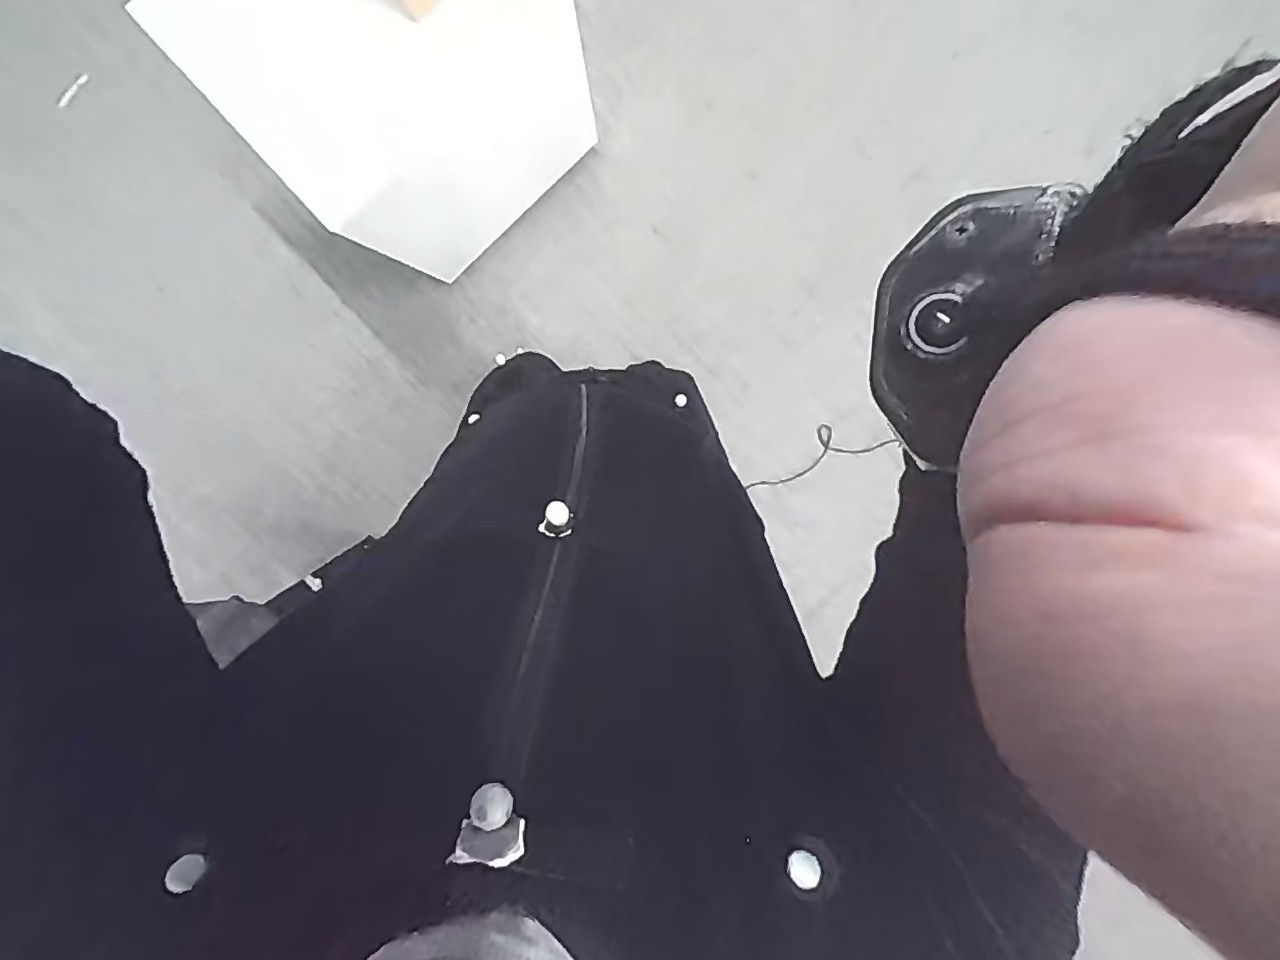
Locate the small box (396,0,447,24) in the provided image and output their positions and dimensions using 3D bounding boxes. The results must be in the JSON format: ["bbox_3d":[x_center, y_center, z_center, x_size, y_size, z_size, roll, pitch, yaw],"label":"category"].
[{"bbox_3d":[-0.303,-0.747,0.677,0.179,0.176,0.168,-39,98,9],"label":"small box"}]
